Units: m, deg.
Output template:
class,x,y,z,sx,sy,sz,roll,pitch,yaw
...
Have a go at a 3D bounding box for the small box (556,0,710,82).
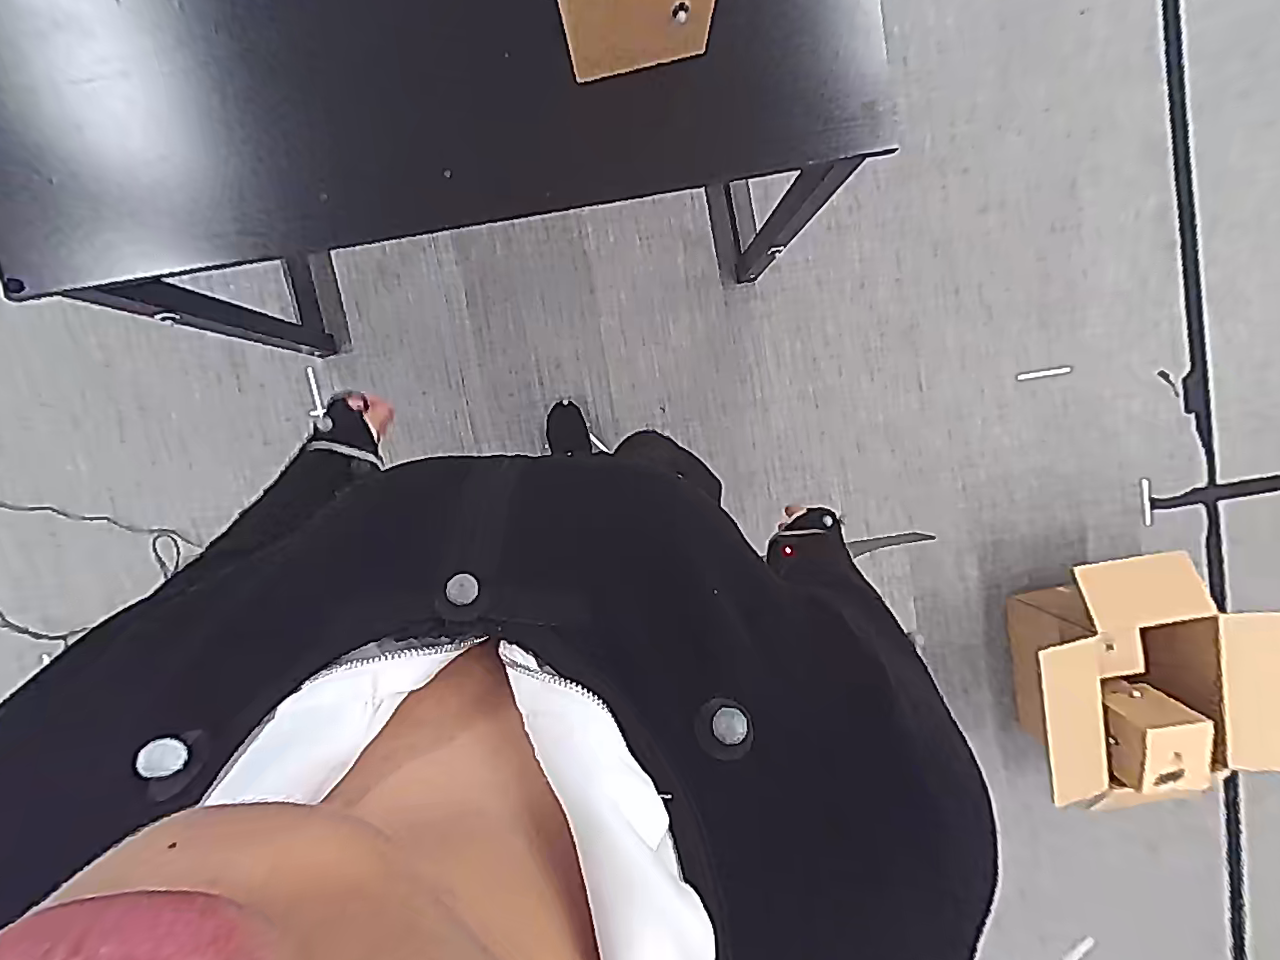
class,x,y,z,sx,sy,sz,roll,pitch,yaw
small box,-0.017,-0.615,0.631,0.179,0.176,0.168,-14,94,0
